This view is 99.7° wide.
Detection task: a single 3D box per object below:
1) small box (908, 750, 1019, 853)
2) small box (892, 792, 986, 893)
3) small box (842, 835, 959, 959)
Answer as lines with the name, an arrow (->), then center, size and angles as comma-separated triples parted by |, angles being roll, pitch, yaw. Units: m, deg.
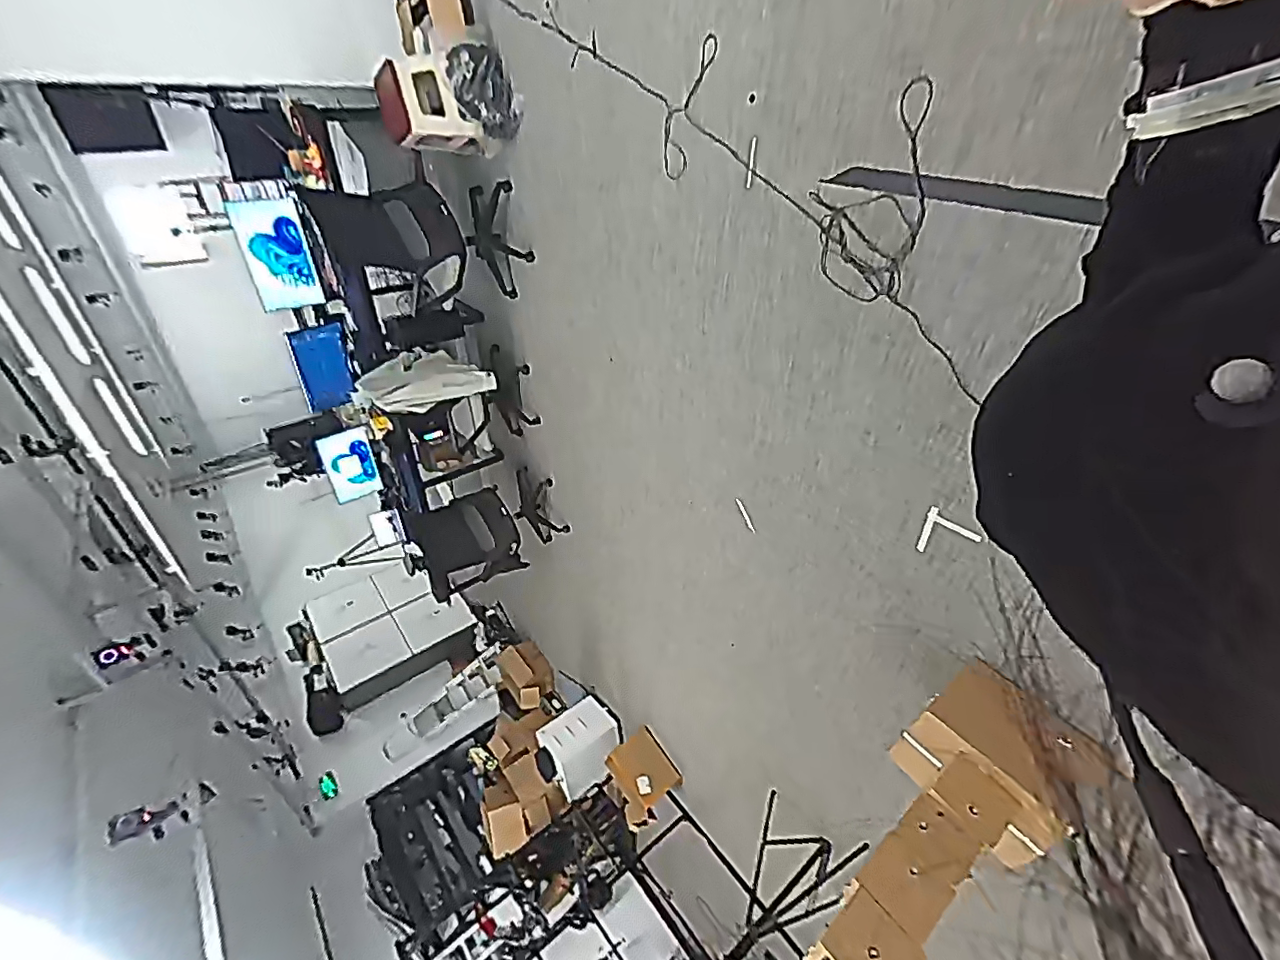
small box -> 0.887, 0.889, 1.482 | 0.179, 0.176, 0.168 | 43, 142, 33
small box -> 0.764, 0.963, 1.404 | 0.168, 0.176, 0.179 | 30, 135, 44
small box -> 0.633, 1.016, 1.322 | 0.179, 0.176, 0.168 | 36, 138, 40
